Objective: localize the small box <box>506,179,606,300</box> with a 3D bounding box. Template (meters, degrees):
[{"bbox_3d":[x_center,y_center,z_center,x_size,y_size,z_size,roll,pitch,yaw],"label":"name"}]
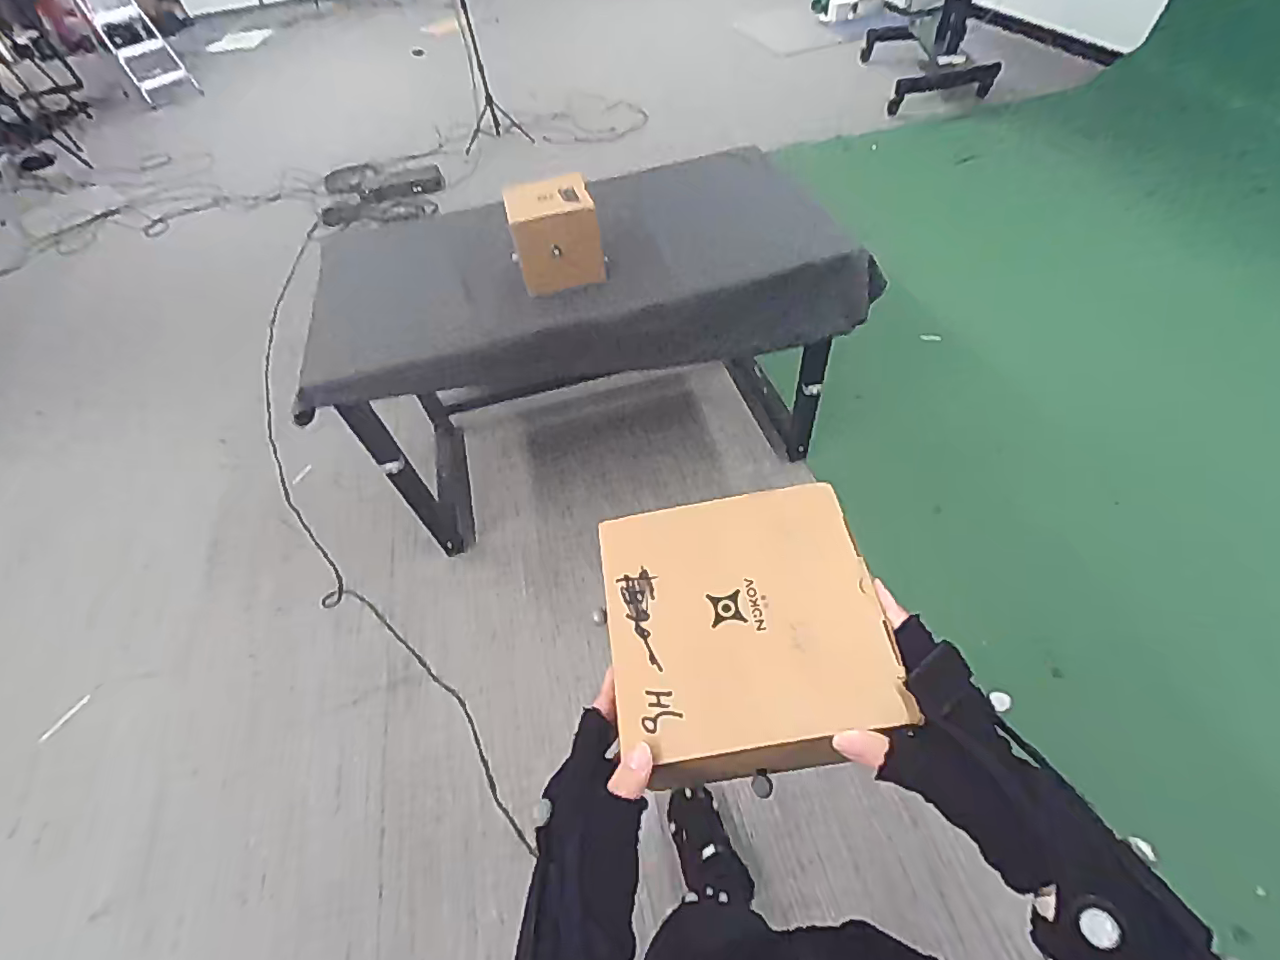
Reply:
[{"bbox_3d":[-0.177,-0.523,1.182,0.179,0.176,0.168,-16,52,-7],"label":"small box"}]

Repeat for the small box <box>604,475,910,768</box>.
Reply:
[{"bbox_3d":[0.074,0.119,0.429,0.179,0.176,0.168,-9,55,1],"label":"small box"}]
